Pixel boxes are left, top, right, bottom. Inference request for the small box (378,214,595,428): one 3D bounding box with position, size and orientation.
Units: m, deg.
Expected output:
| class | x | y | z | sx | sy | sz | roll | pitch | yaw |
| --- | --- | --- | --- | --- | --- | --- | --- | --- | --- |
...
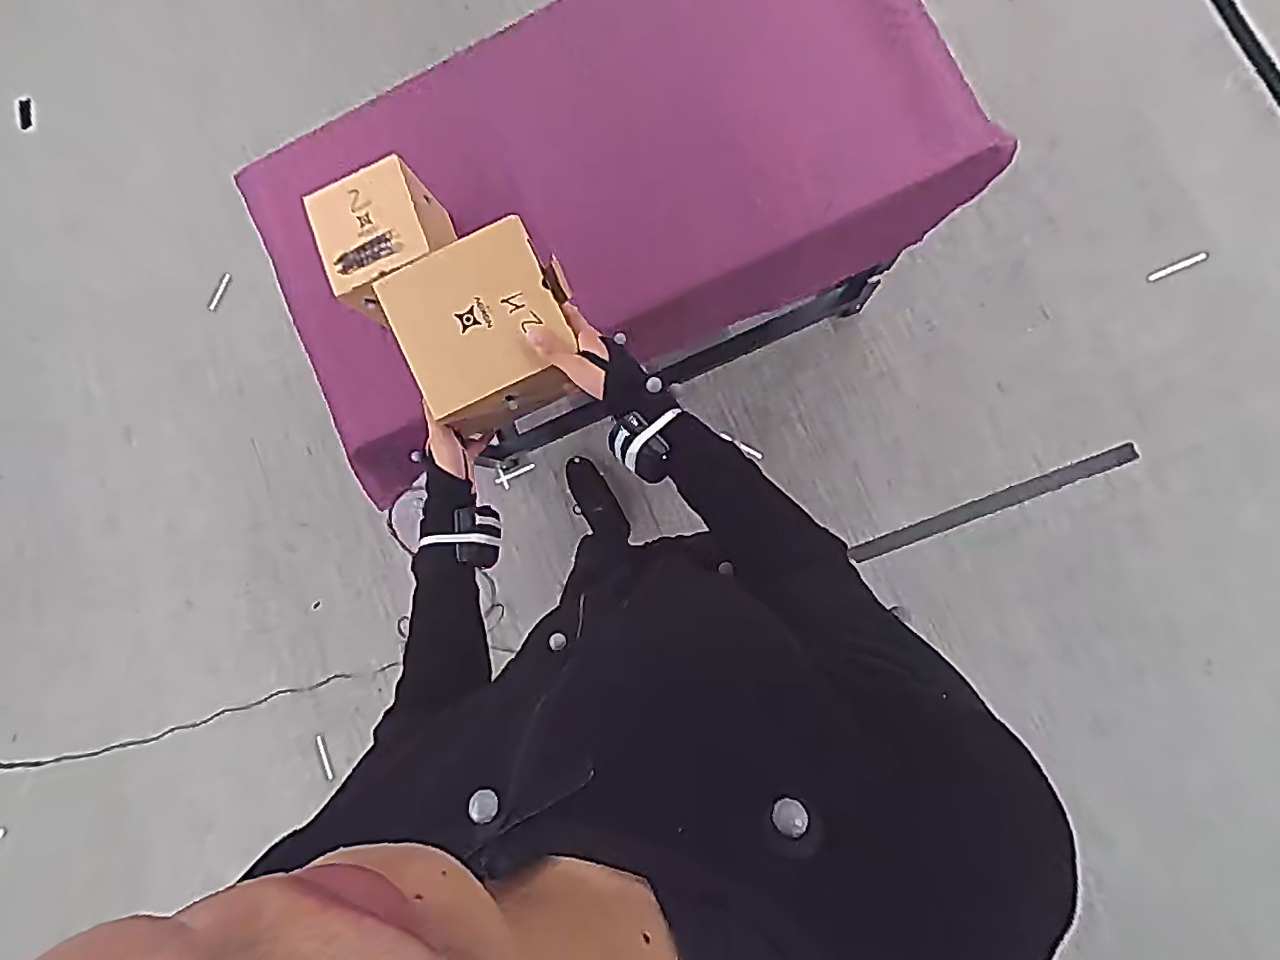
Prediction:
| class | x | y | z | sx | sy | sz | roll | pitch | yaw |
| --- | --- | --- | --- | --- | --- | --- | --- | --- | --- |
| small box | -0.169 | -0.174 | 0.656 | 0.179 | 0.176 | 0.168 | -26 | 89 | 0 |
